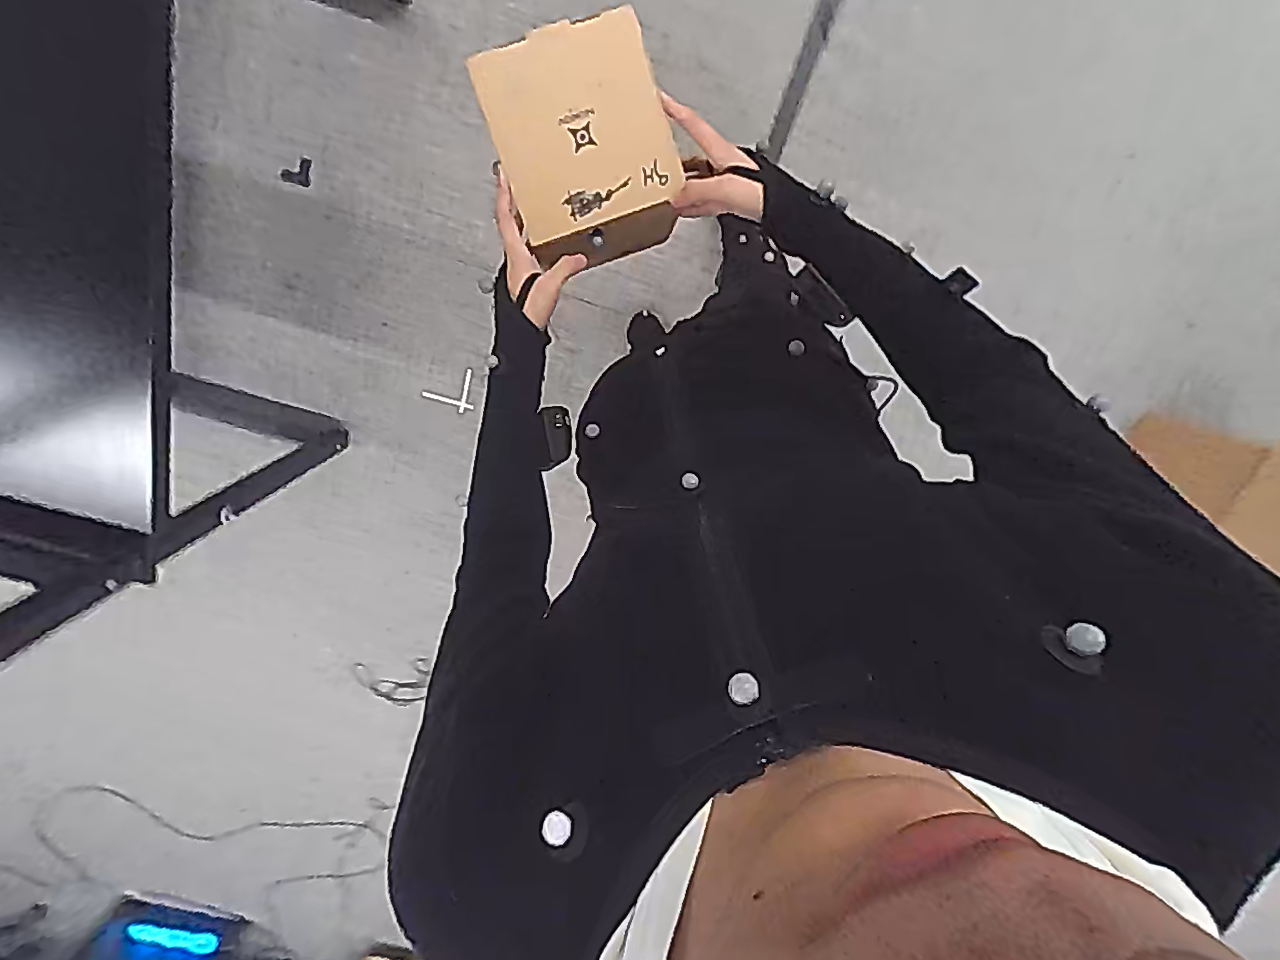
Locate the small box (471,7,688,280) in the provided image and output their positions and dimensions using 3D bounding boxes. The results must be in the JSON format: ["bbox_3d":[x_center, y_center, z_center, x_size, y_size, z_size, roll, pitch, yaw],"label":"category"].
[{"bbox_3d":[-0.061,-0.343,0.589,0.168,0.176,0.179,-19,98,-1],"label":"small box"}]
